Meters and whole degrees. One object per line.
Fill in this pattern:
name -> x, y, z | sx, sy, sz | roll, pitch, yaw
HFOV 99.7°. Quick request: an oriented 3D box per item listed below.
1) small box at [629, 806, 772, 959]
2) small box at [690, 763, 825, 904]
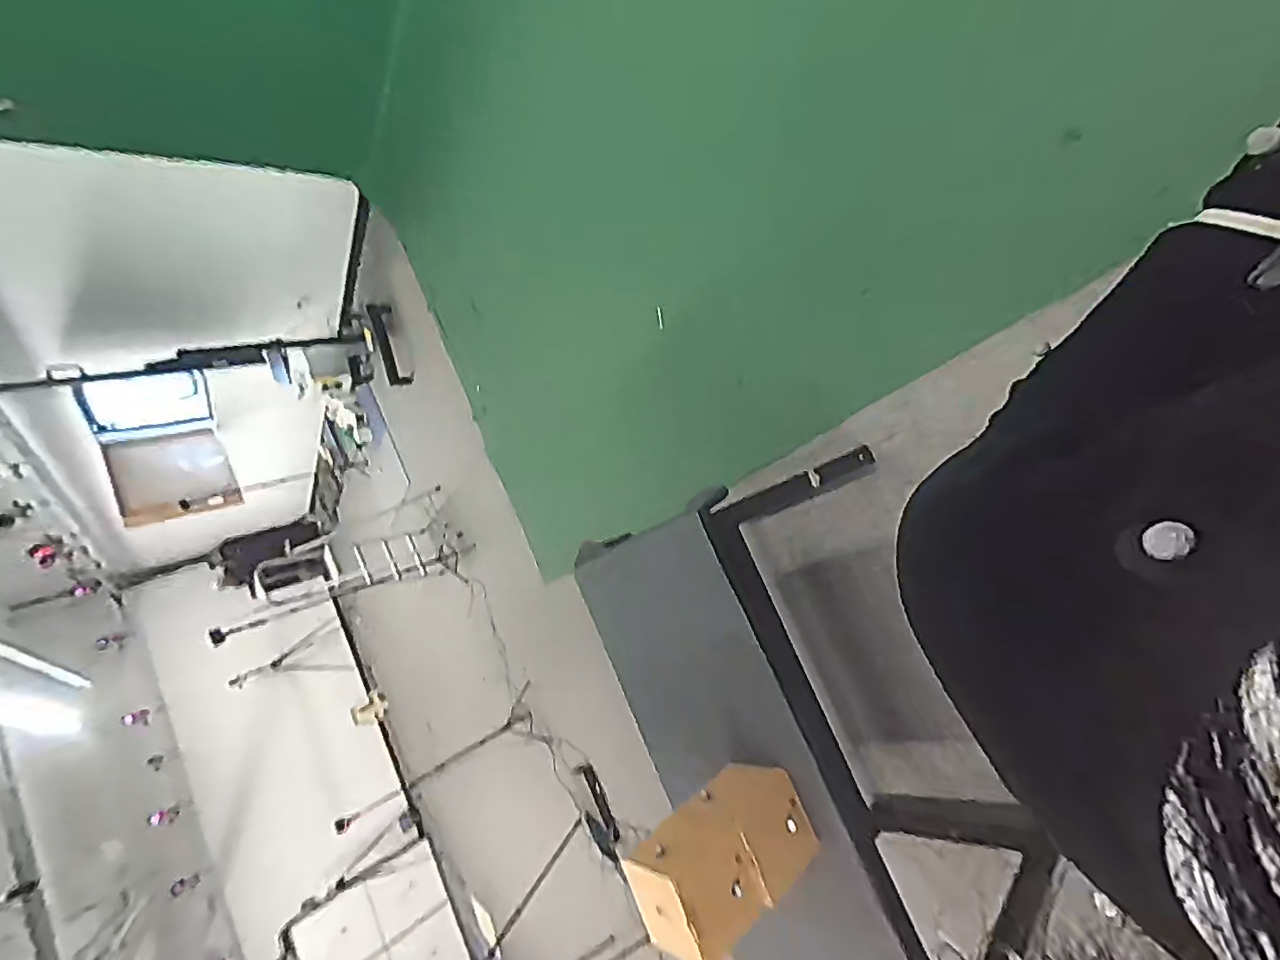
small box -> 0.113, 0.750, 1.021 | 0.179, 0.176, 0.168 | -32, 78, 51
small box -> 0.241, 0.710, 1.112 | 0.179, 0.176, 0.168 | -33, 79, 51
